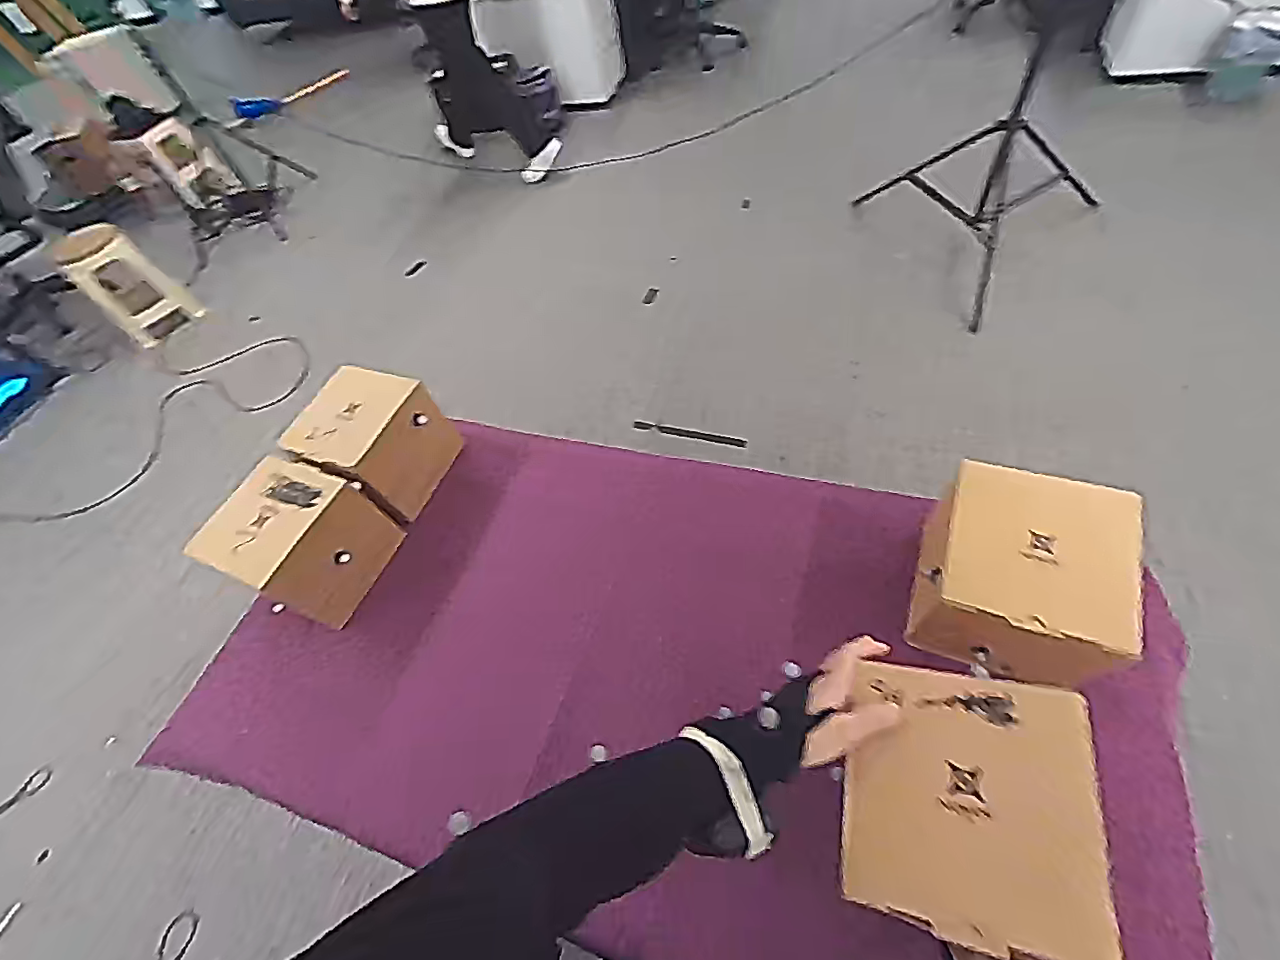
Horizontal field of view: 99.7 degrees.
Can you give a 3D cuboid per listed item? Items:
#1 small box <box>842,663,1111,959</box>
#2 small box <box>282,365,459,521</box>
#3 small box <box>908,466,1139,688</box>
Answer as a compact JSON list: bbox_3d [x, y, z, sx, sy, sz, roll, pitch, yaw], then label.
[{"bbox_3d":[0.274,0.280,0.475,0.168,0.176,0.179,3,62,24],"label":"small box"},{"bbox_3d":[-0.430,-0.060,0.904,0.168,0.176,0.179,14,61,20],"label":"small box"},{"bbox_3d":[0.422,0.114,0.619,0.168,0.176,0.179,15,65,20],"label":"small box"}]
